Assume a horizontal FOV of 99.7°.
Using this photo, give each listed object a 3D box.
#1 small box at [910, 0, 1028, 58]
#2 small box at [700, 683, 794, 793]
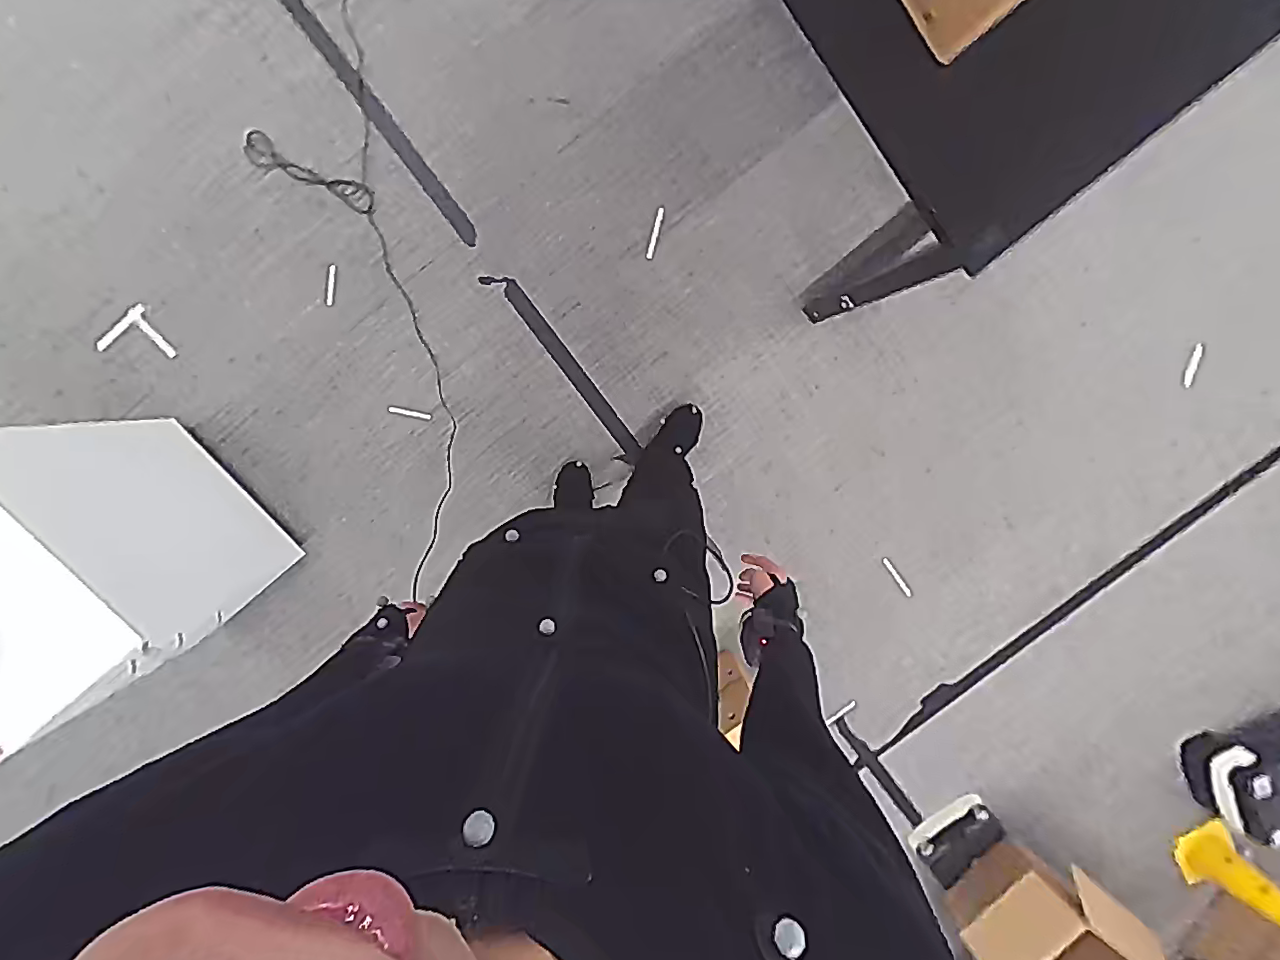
[{"bbox_3d":[0.471,-0.708,0.690,0.179,0.176,0.168,-38,99,4],"label":"small box"},{"bbox_3d":[0.282,0.693,1.473,0.179,0.176,0.168,-37,99,5],"label":"small box"}]
